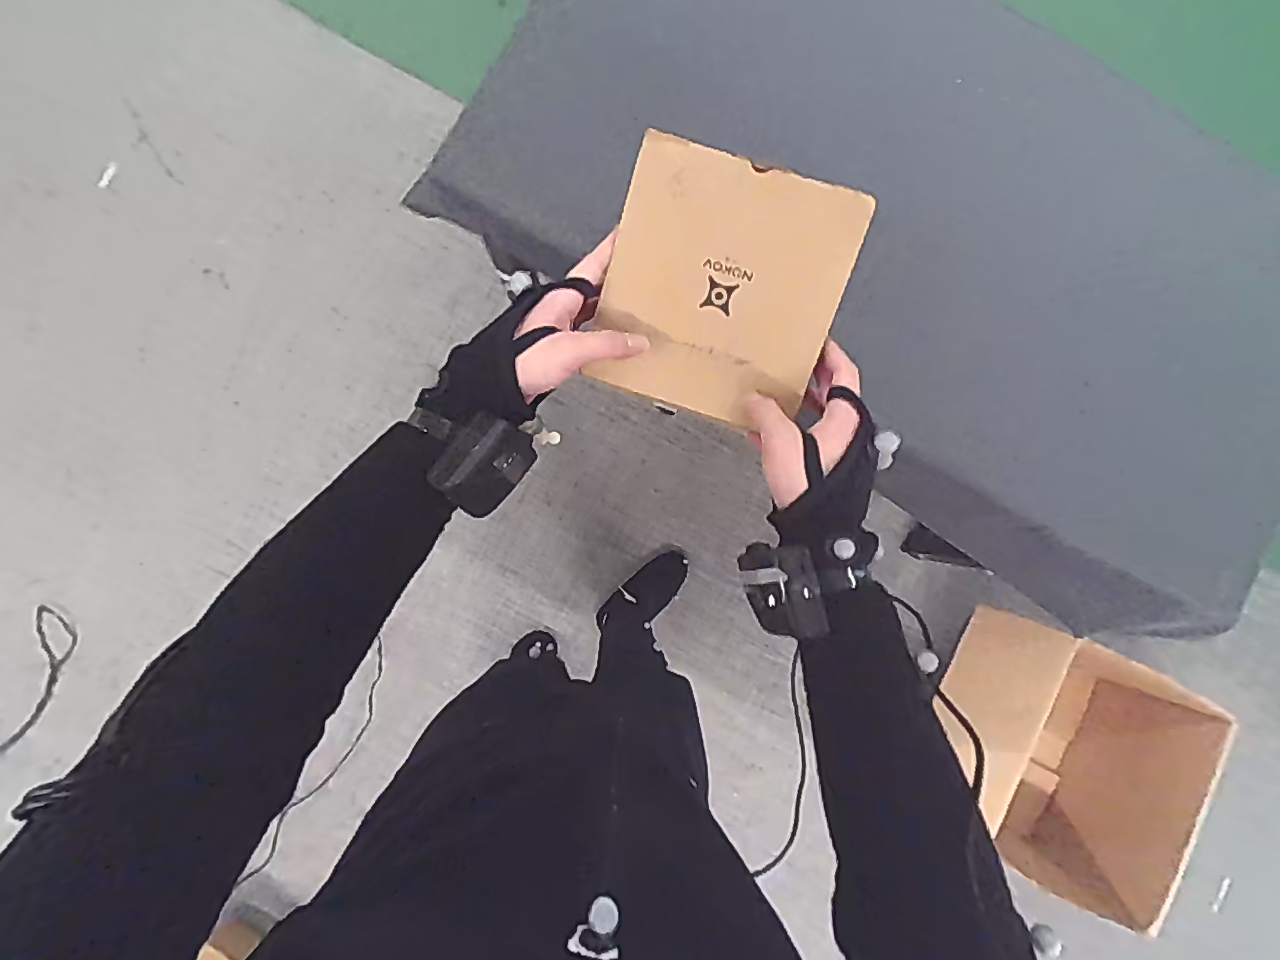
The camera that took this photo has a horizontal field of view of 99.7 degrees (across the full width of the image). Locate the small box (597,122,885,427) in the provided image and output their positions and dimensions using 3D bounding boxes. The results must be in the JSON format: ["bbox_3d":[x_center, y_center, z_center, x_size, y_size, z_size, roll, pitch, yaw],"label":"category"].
[{"bbox_3d":[0.072,-0.153,0.464,0.168,0.176,0.179,18,97,1],"label":"small box"}]
